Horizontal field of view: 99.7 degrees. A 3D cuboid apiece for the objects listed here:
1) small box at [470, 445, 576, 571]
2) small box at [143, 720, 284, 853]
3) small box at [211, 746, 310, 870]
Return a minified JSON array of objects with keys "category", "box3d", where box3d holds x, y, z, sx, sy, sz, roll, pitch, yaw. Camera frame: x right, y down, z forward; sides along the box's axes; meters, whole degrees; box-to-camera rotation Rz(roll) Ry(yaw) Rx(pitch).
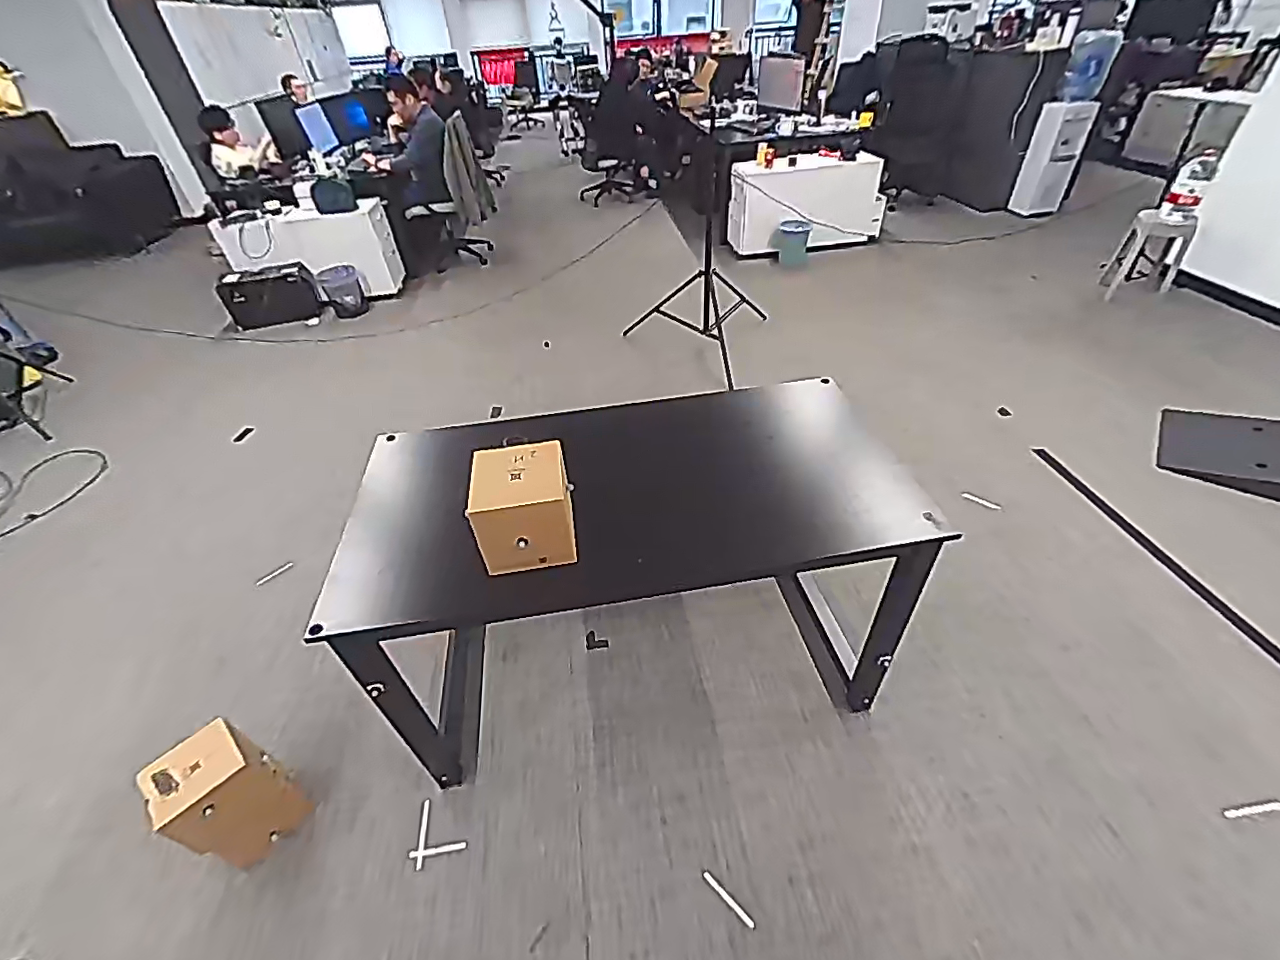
[{"category":"small box","box3d":[-0.218,0.060,1.042,0.168,0.176,0.179,-8,40,-5]},{"category":"small box","box3d":[-0.964,0.700,1.233,0.168,0.176,0.179,29,50,32]},{"category":"small box","box3d":[-0.962,0.818,1.350,0.168,0.176,0.179,27,49,32]}]
